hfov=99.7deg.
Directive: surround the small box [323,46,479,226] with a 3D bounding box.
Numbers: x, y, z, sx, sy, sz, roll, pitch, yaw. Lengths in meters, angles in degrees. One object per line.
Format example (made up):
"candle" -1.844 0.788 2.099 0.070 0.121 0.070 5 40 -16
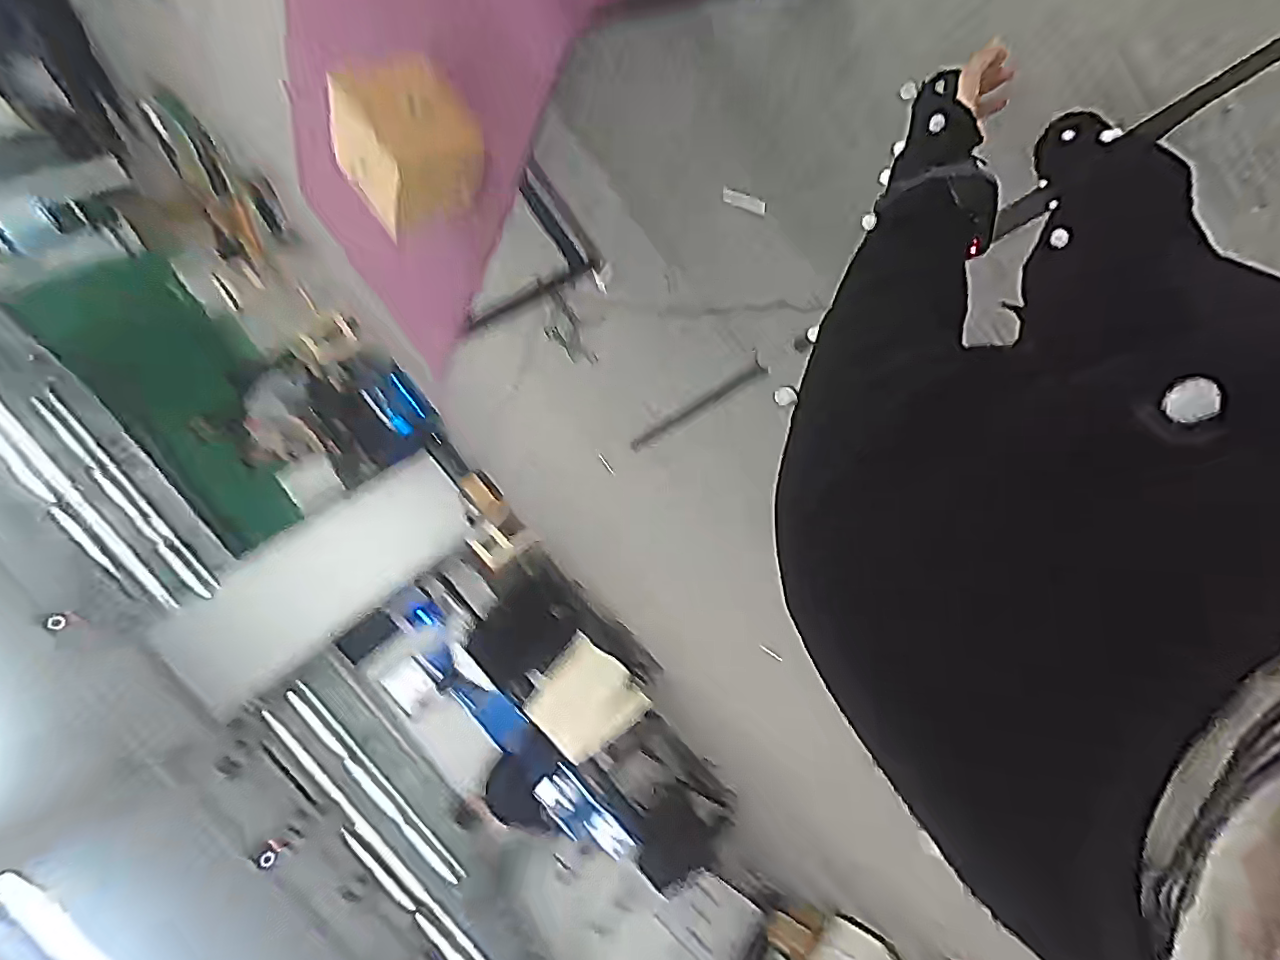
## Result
"small box" -0.393 -0.569 0.899 0.168 0.176 0.179 54 151 -9
